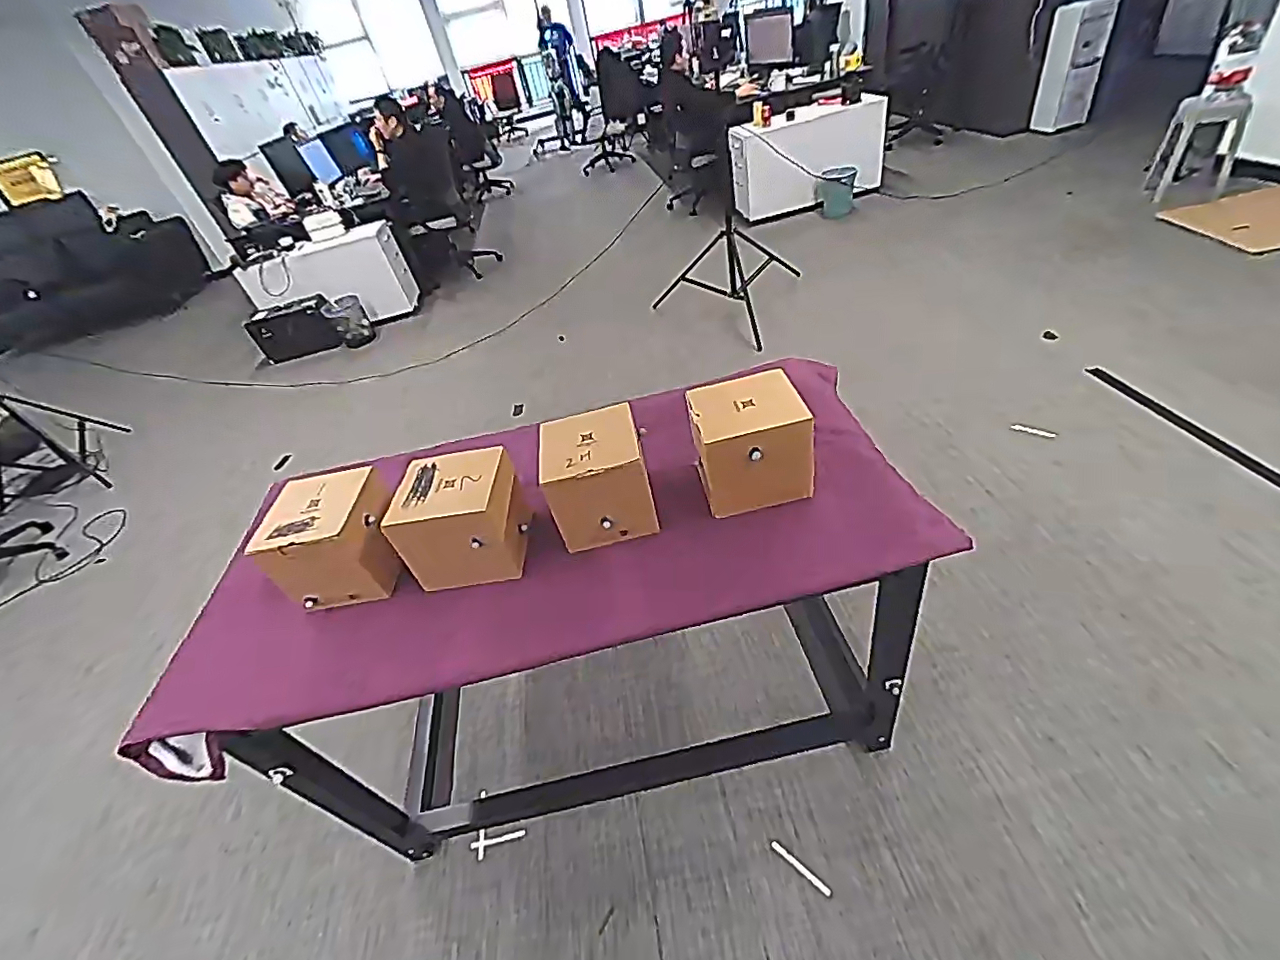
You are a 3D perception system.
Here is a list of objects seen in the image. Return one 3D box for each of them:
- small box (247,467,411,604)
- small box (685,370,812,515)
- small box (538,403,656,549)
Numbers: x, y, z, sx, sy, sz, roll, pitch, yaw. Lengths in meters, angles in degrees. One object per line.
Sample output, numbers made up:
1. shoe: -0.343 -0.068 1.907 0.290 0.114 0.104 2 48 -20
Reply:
1. small box: -0.539 0.105 0.971 0.168 0.176 0.179 -10 41 5
2. small box: 0.186 -0.063 0.944 0.179 0.176 0.168 -14 38 2
3. small box: -0.075 -0.007 0.959 0.168 0.176 0.179 -14 40 2
